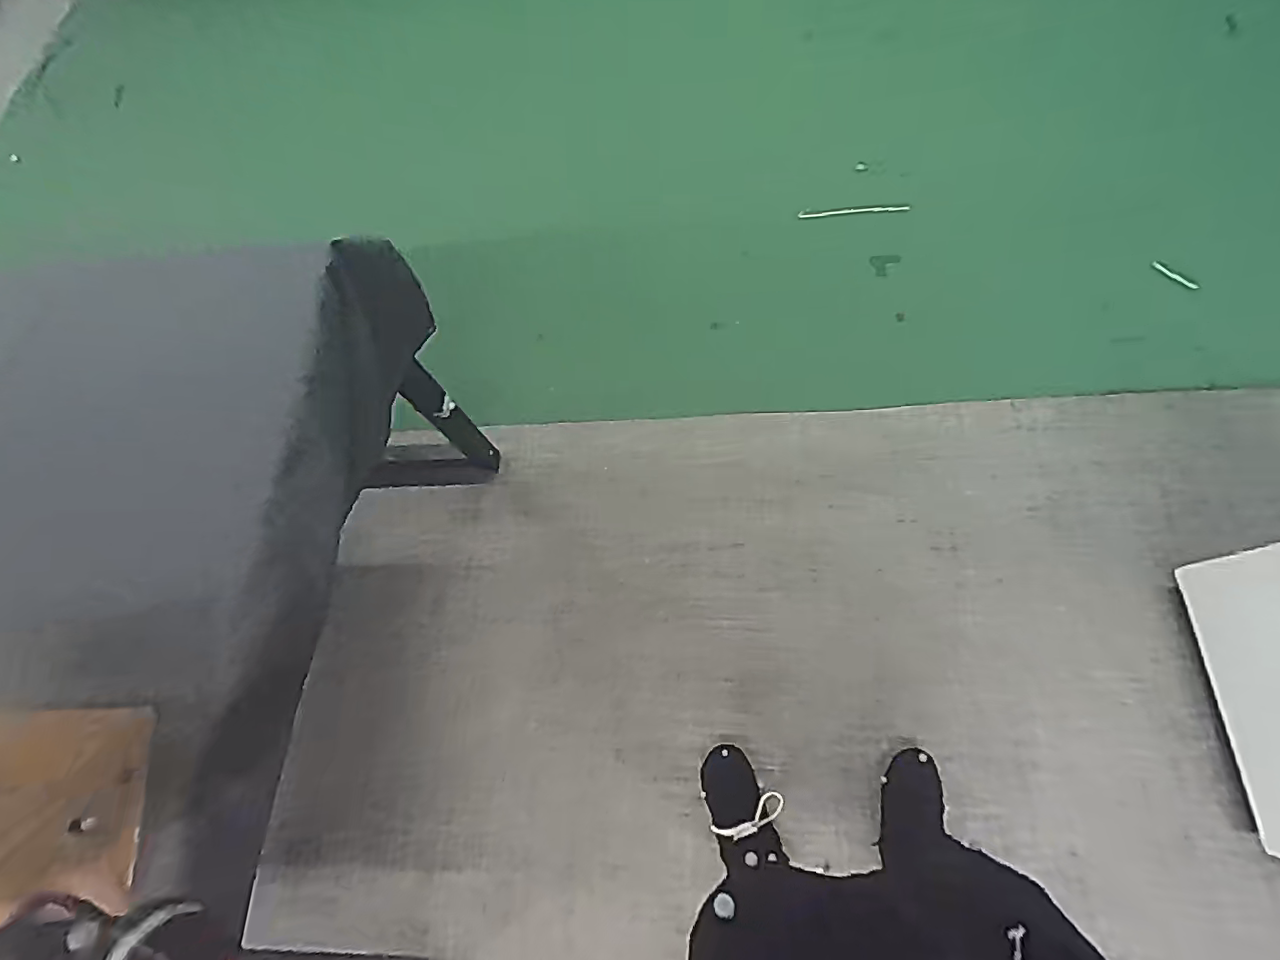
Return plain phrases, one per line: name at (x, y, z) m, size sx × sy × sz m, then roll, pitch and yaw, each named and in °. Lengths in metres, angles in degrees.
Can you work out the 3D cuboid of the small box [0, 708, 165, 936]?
small box at (-0.575, 0.299, 0.463) m, size 0.179 × 0.176 × 0.168 m, roll -12°, pitch 67°, yaw 2°
